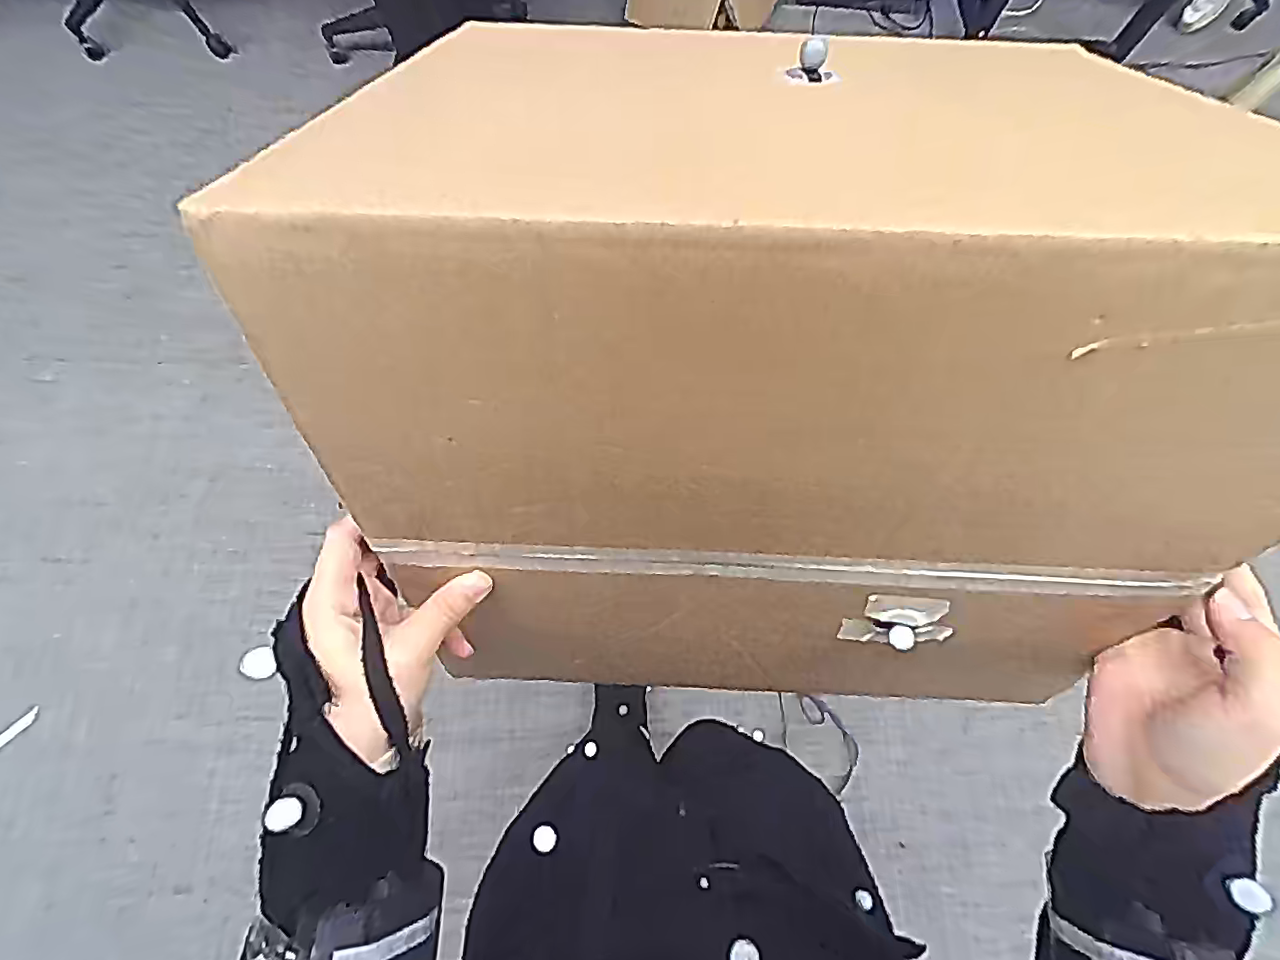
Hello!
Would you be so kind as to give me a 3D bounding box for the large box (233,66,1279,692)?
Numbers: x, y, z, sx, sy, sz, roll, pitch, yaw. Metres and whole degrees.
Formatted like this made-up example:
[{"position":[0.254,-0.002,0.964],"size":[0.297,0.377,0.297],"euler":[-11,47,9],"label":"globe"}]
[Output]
[{"position":[0.071,-0.069,0.372],"size":[0.408,0.320,0.320],"euler":[1,48,1],"label":"large box"}]
